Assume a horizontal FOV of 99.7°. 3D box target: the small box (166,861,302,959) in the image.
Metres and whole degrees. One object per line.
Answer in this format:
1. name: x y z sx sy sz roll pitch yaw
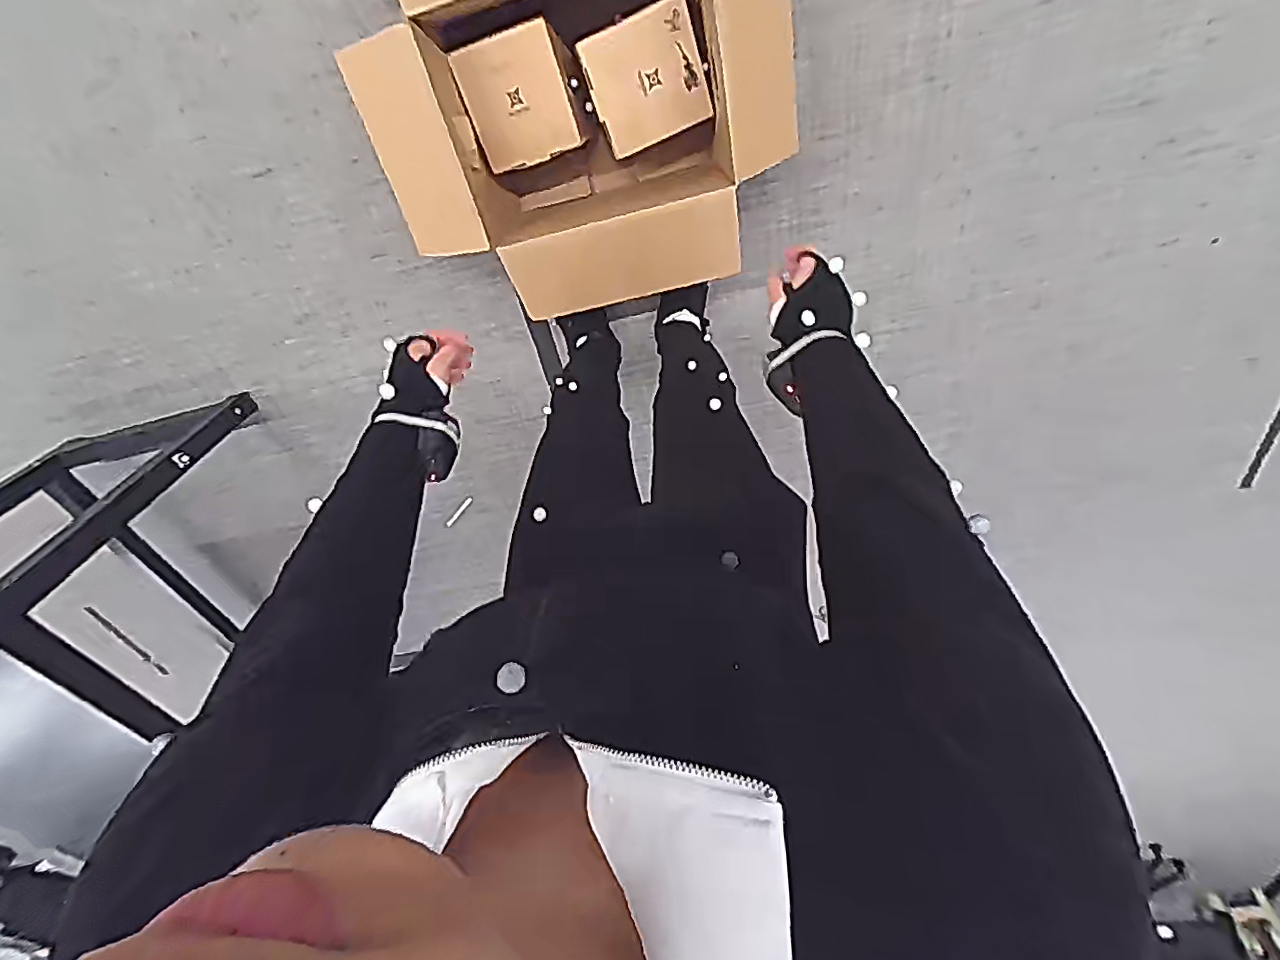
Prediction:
1. small box: -1.005 1.088 1.357 0.179 0.176 0.168 -13 126 9
